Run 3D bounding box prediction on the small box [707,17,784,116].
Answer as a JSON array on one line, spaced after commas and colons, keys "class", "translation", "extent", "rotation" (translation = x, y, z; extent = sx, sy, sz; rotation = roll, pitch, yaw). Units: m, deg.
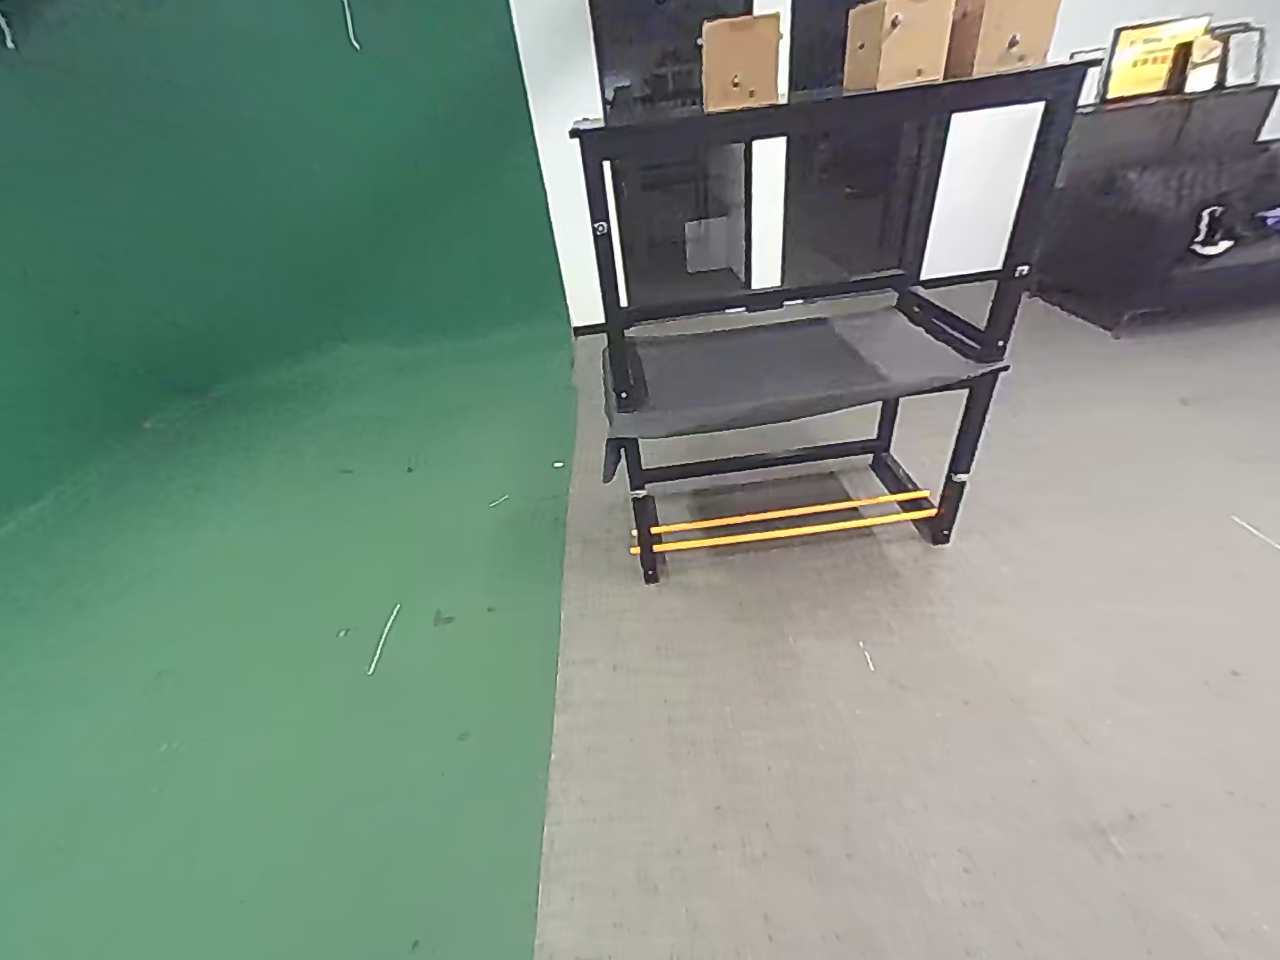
[{"class": "small box", "translation": [0.243, -0.977, 1.288], "extent": [0.168, 0.176, 0.179], "rotation": [-2, 36, 7]}]
